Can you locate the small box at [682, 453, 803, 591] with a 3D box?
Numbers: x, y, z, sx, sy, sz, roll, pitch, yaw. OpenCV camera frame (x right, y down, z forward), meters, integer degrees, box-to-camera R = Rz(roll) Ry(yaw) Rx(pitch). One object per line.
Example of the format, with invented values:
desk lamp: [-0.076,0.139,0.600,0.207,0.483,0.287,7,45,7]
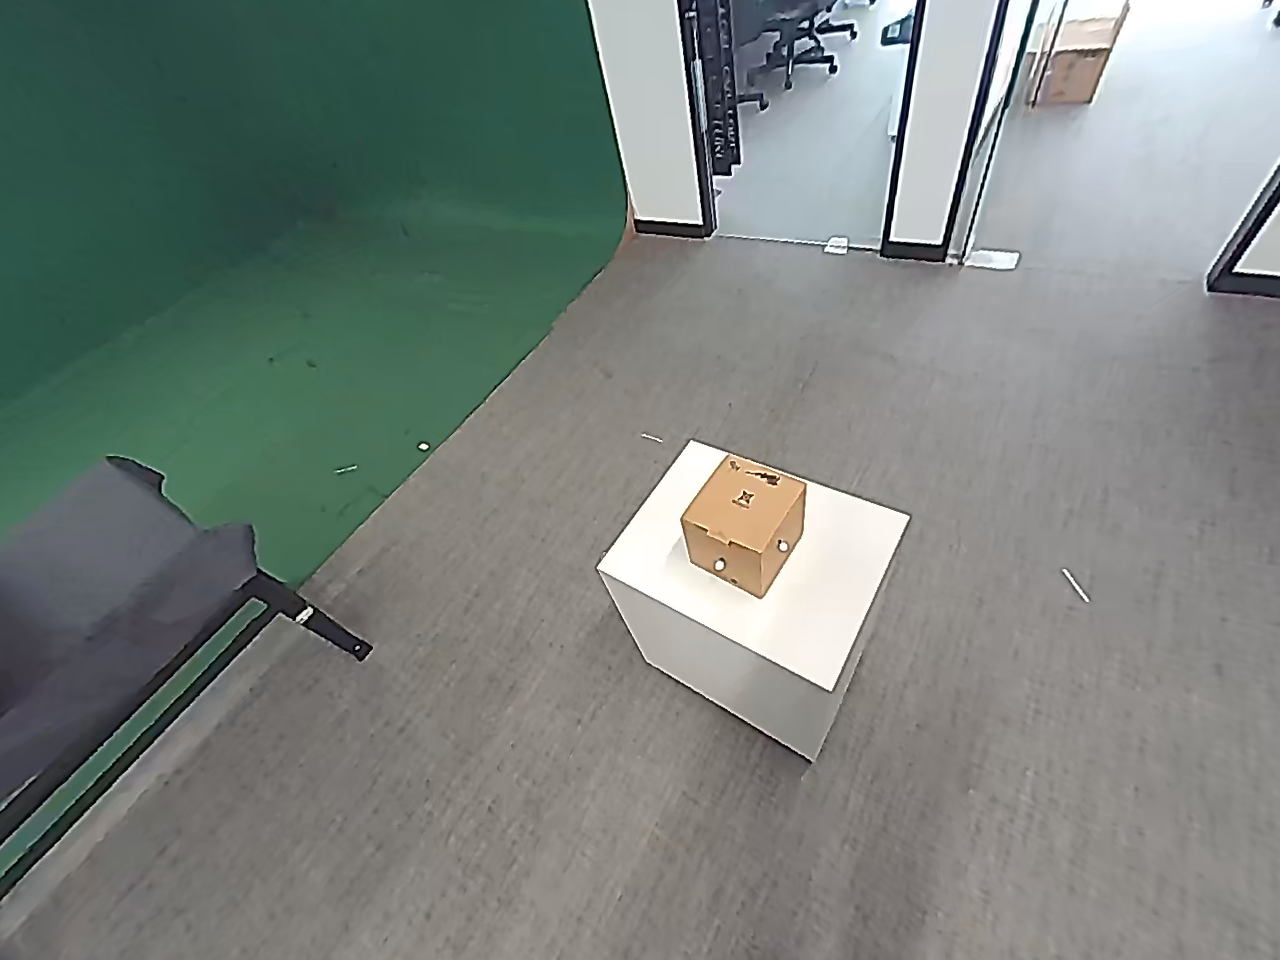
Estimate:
small box: [0.204,0.083,1.043,0.168,0.176,0.179,22,60,29]
